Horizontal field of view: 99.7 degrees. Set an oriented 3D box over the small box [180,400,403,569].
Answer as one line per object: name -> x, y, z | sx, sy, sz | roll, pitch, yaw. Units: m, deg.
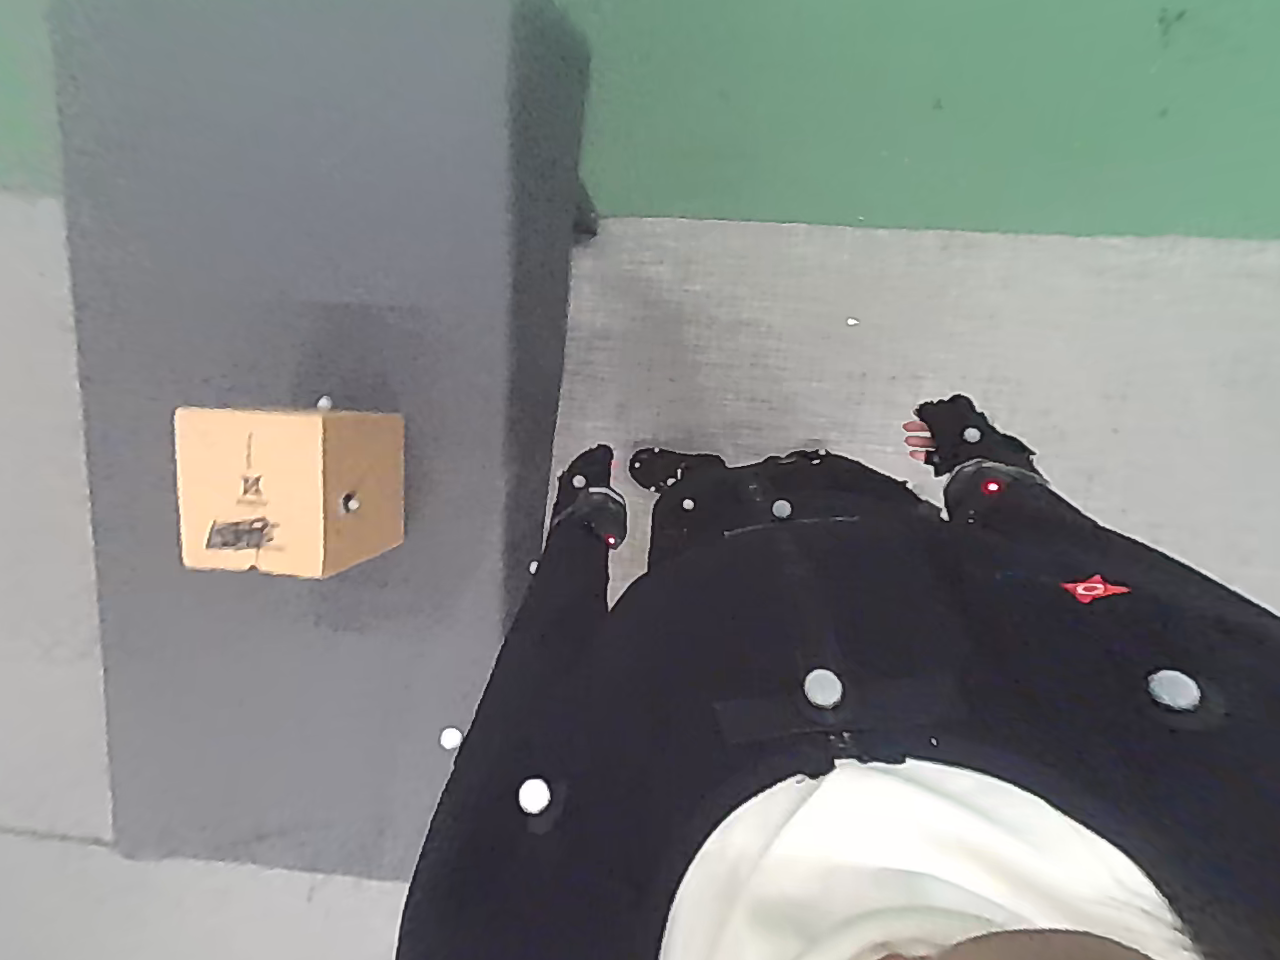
small box -> -0.409, -0.004, 0.661 | 0.168, 0.176, 0.179 | 4, 96, 5
